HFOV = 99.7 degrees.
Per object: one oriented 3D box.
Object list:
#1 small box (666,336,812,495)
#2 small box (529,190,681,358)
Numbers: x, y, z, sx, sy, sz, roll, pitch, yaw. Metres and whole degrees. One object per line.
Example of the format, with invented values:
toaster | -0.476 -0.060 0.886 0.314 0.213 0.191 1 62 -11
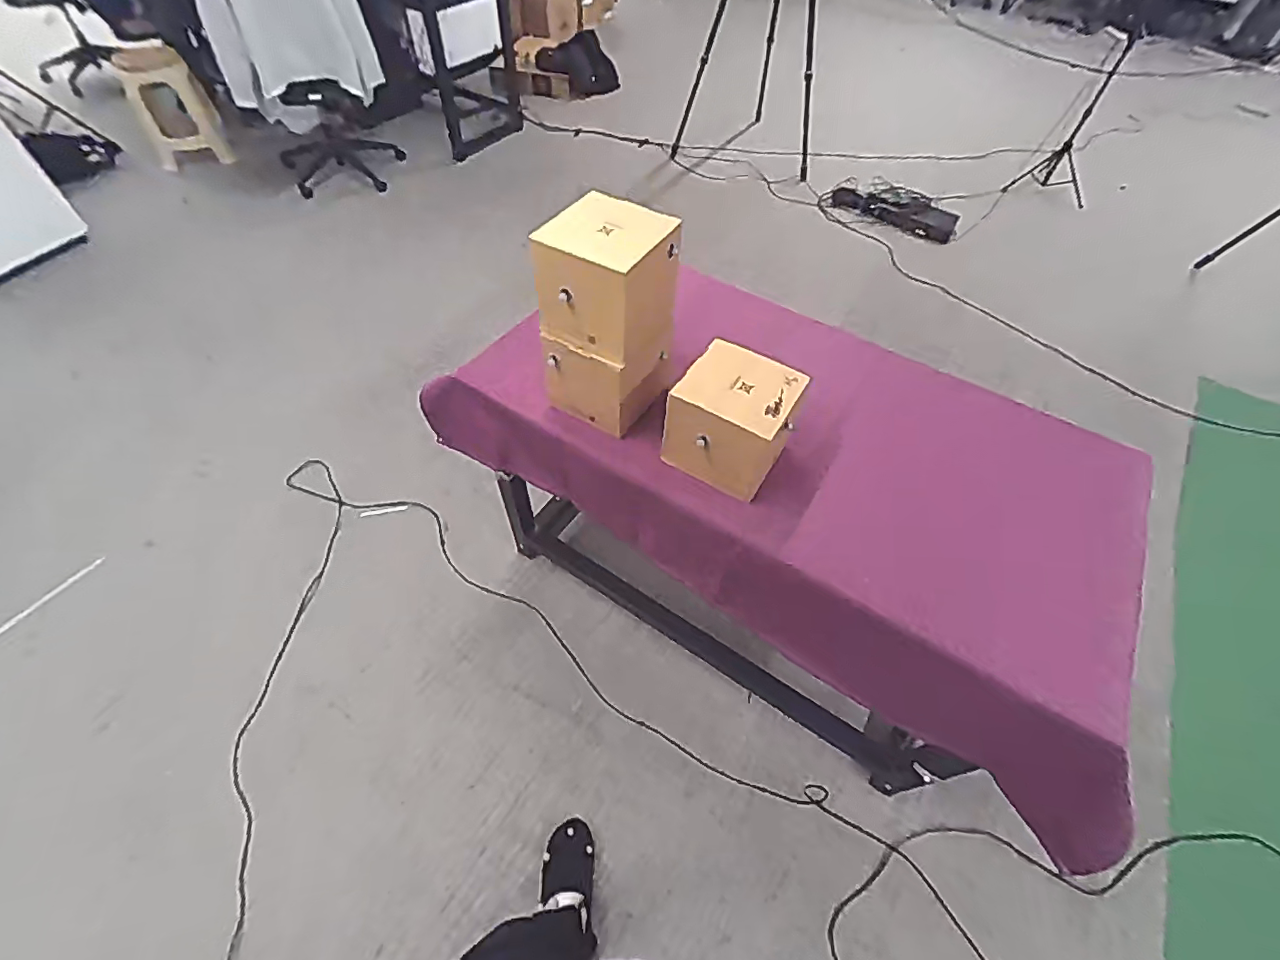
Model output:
small box | 0.157 -0.104 0.907 0.179 0.176 0.168 28 58 17
small box | -0.050 -0.324 0.860 0.168 0.176 0.179 26 55 16
